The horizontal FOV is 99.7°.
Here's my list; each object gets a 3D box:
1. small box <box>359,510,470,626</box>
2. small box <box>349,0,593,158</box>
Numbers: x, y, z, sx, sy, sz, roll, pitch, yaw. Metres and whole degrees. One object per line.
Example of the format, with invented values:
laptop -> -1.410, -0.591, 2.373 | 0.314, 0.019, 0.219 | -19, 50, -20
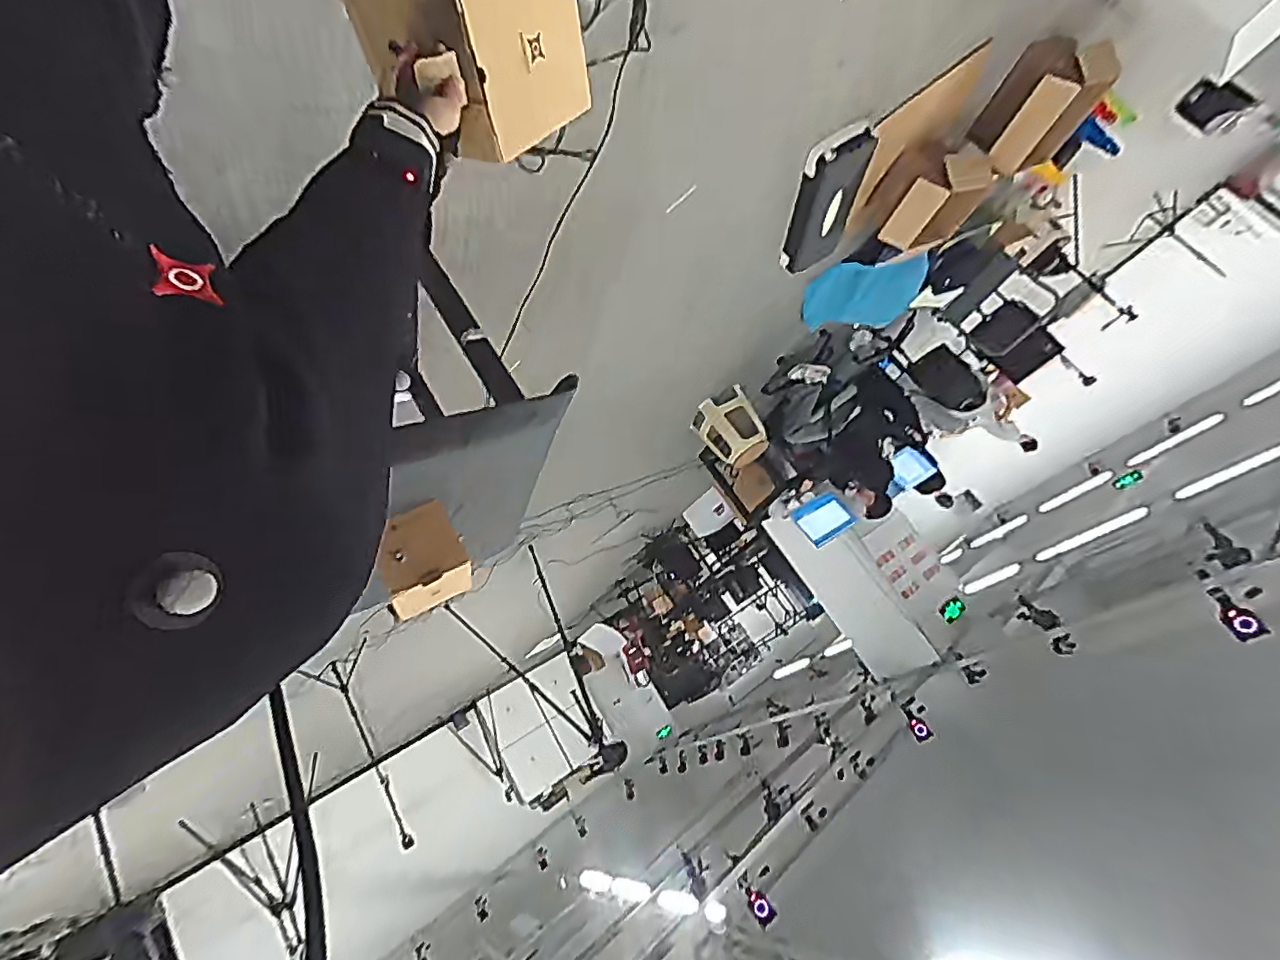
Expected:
small box -> -0.482, 0.185, 1.166 | 0.168, 0.176, 0.179 | -25, 162, -26
small box -> -0.177, -0.487, 0.592 | 0.179, 0.176, 0.168 | -54, 155, -28
